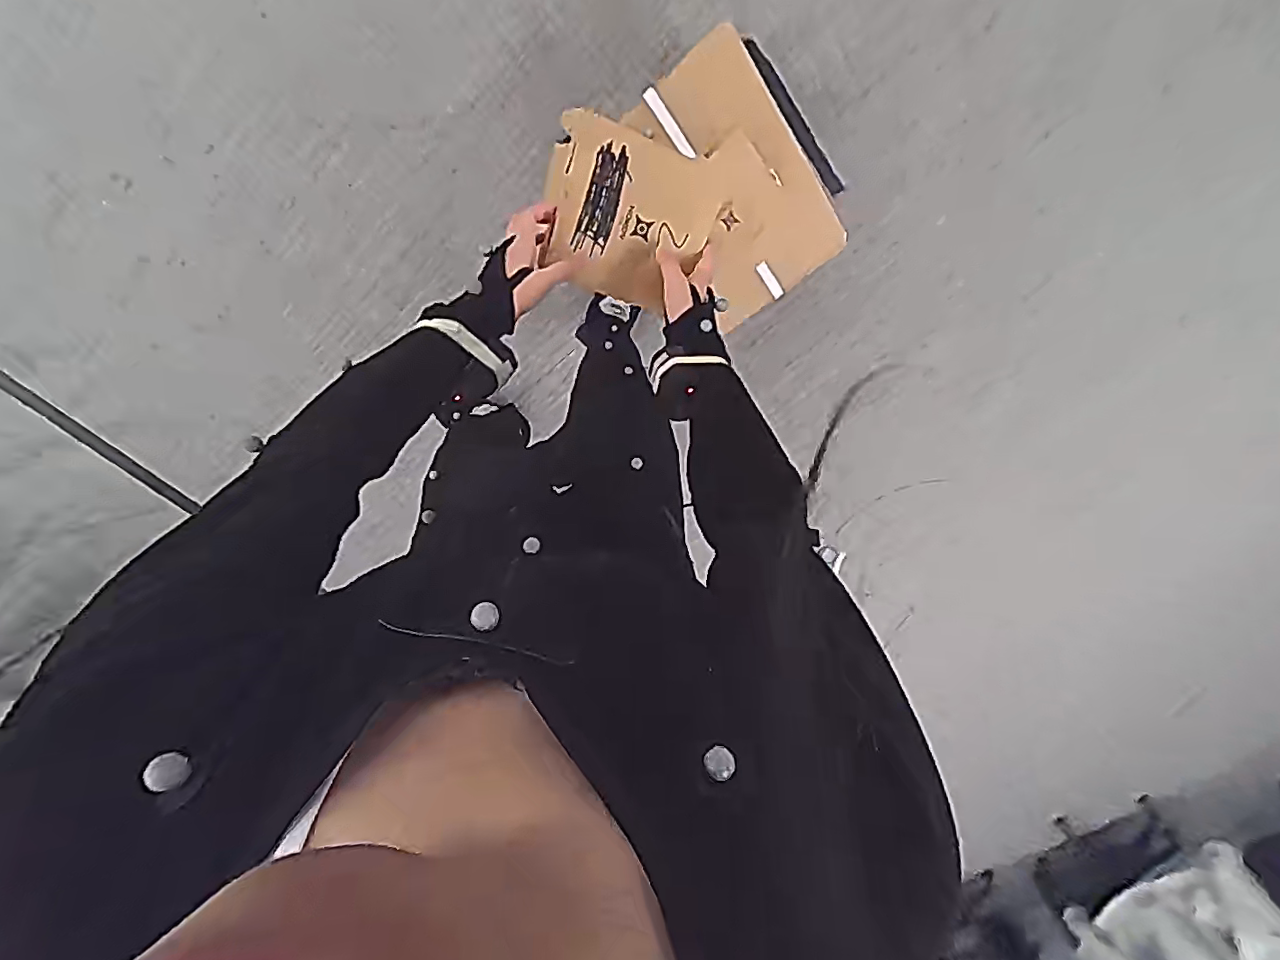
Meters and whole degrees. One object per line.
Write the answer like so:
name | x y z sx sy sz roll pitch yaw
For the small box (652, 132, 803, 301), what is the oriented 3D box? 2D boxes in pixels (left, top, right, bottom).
small box | 0.132 -0.429 0.888 0.168 0.176 0.179 -37 115 18
